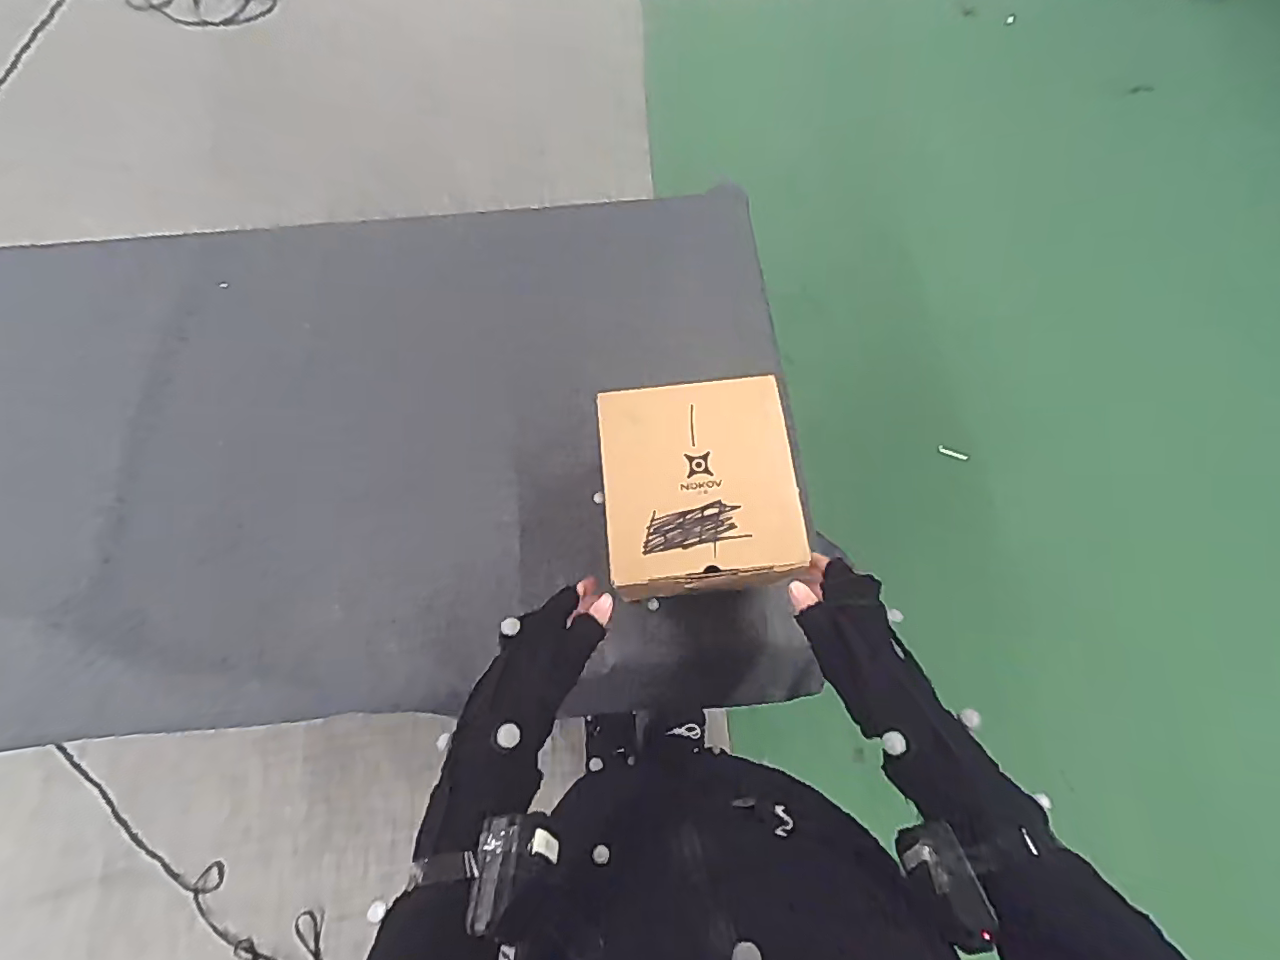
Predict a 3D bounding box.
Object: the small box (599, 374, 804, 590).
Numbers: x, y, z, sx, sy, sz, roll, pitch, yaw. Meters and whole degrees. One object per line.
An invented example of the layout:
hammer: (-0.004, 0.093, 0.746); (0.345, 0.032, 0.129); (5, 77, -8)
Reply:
small box: (0.053, 0.016, 0.549); (0.168, 0.176, 0.179); (-6, 72, 0)
